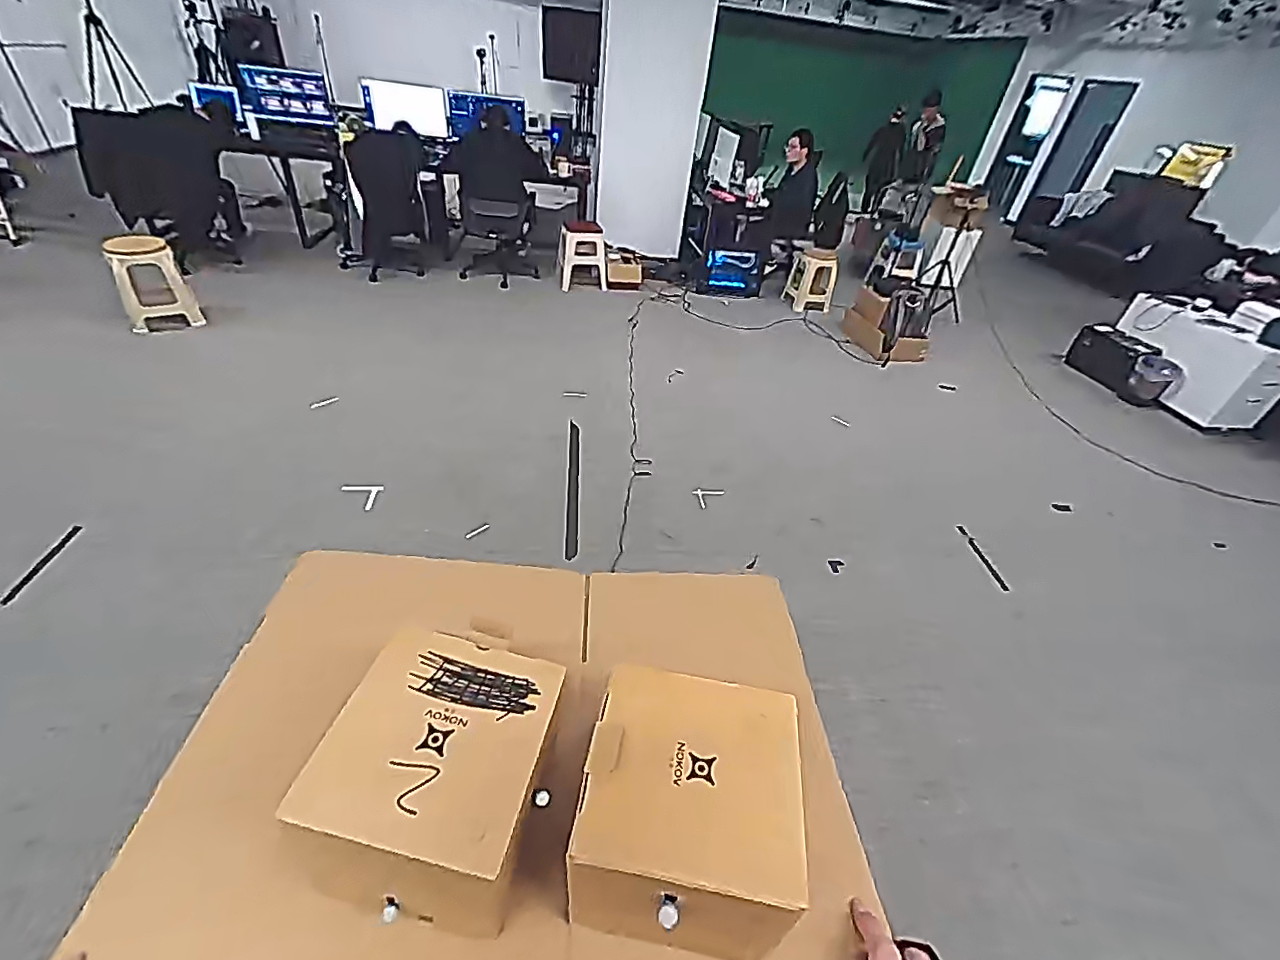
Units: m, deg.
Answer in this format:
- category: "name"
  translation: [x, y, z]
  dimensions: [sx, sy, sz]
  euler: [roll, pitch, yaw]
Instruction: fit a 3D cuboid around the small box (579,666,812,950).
- category: "small box"
  translation: [0.049, 0.306, 0.507]
  dimensions: [0.179, 0.176, 0.168]
  euler: [8, 39, 6]
